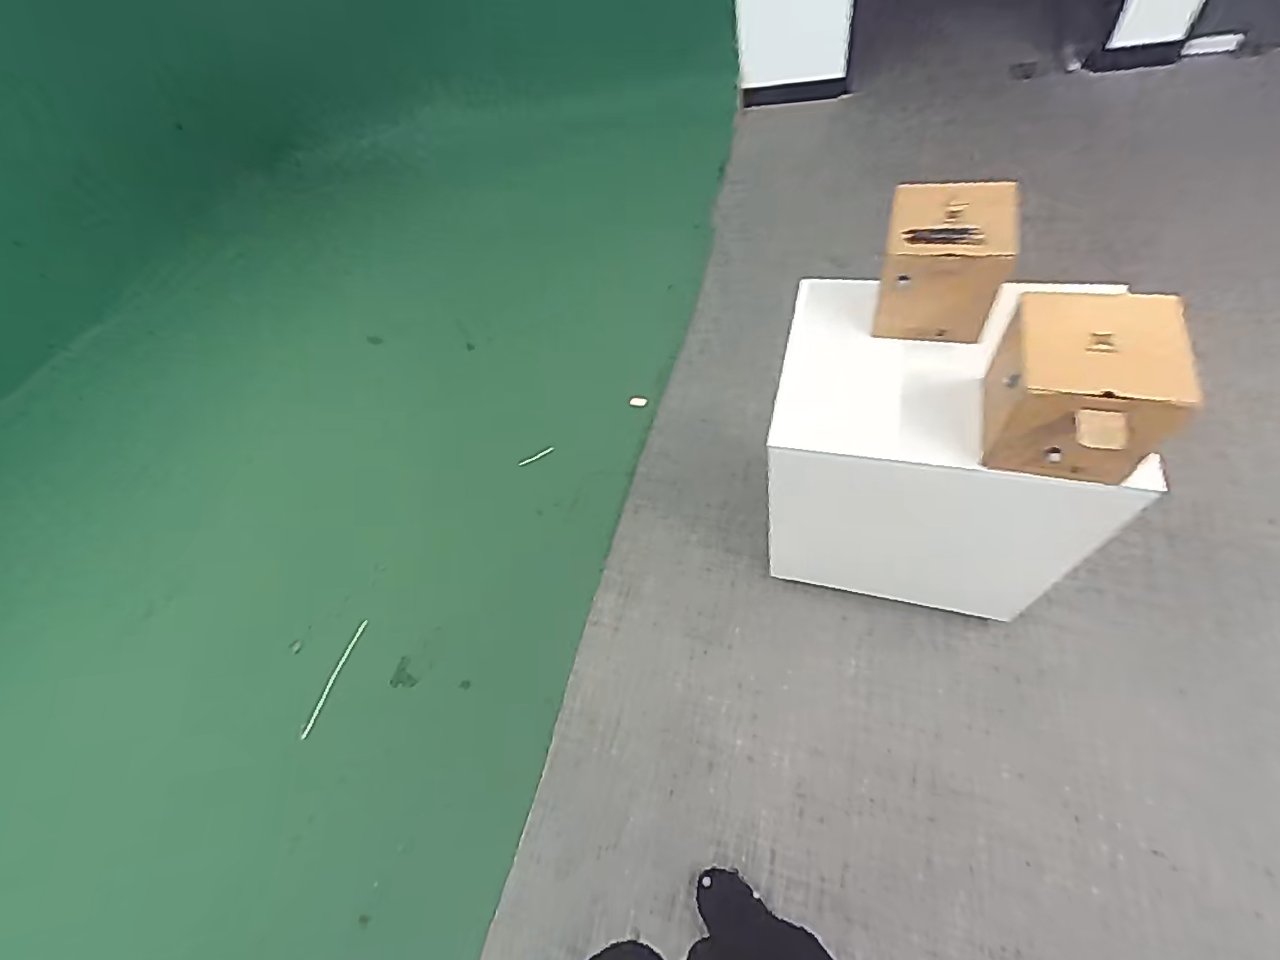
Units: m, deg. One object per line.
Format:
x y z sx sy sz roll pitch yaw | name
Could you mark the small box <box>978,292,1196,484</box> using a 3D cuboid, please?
0.561 -0.120 0.711 0.168 0.176 0.179 9 60 19 | small box
